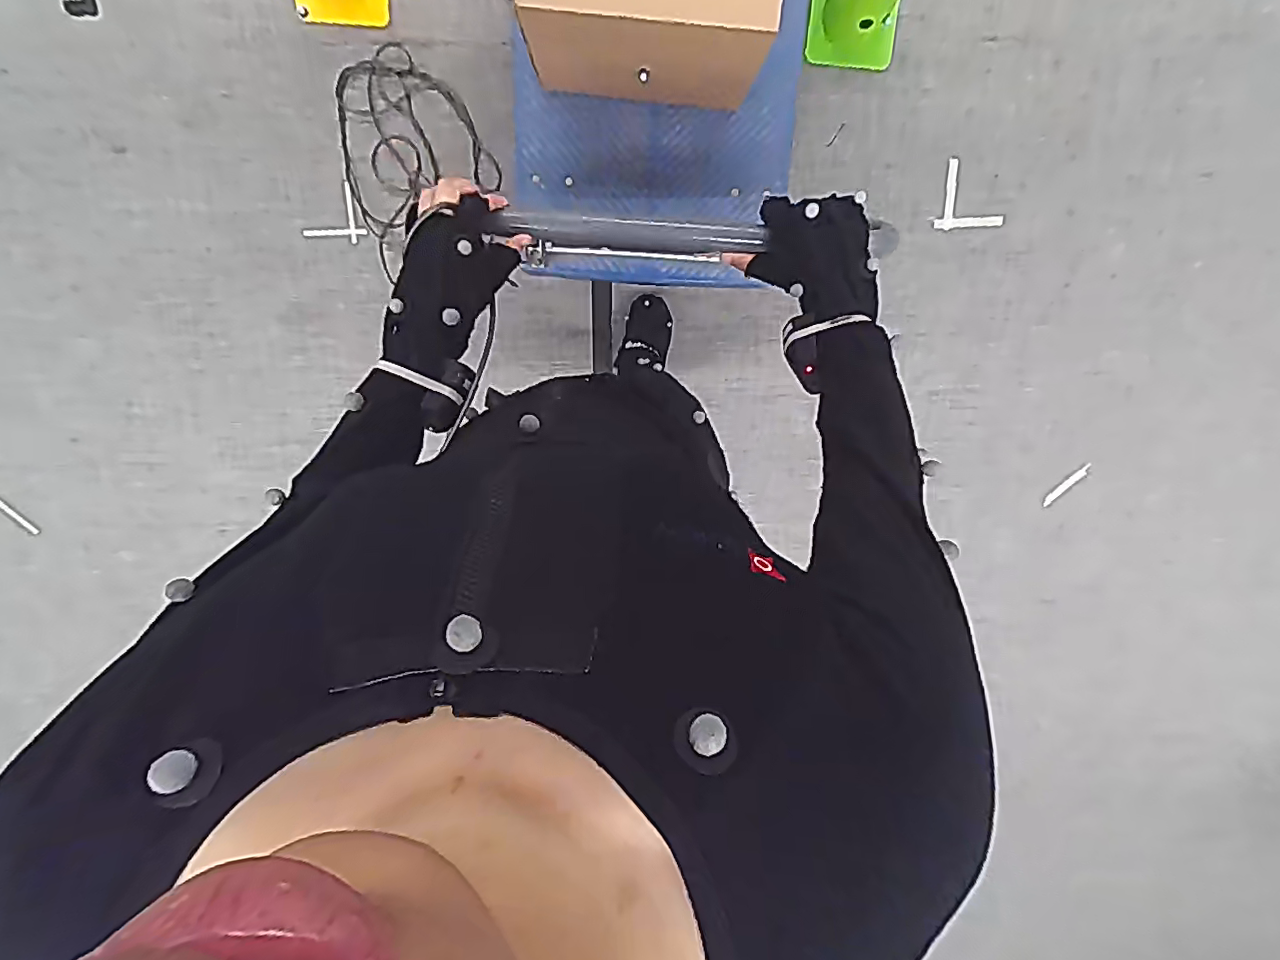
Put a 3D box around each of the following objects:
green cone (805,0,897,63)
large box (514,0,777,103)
[{"bbox_3d":[0.487,-1.016,1.050,0.202,0.368,0.200,2,105,-4],"label":"green cone"},{"bbox_3d":[0.015,-0.883,0.921,0.408,0.320,0.320,4,106,-2],"label":"large box"}]
